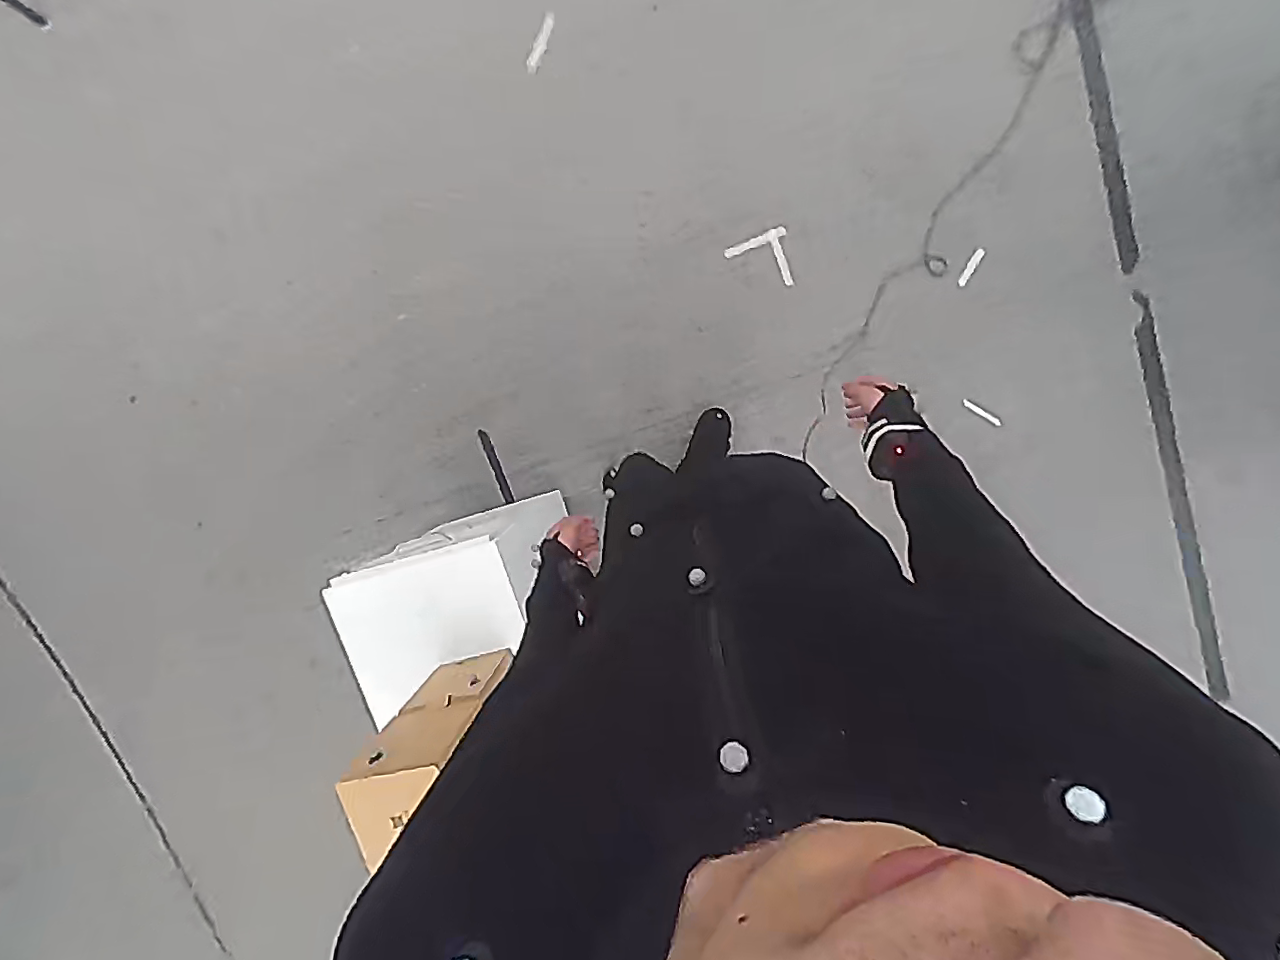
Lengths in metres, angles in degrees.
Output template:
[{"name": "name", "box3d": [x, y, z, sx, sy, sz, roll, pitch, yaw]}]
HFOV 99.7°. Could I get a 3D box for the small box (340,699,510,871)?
[{"name": "small box", "box3d": [-0.340, 0.491, 0.888, 0.179, 0.176, 0.168, -15, 99, 7]}]
